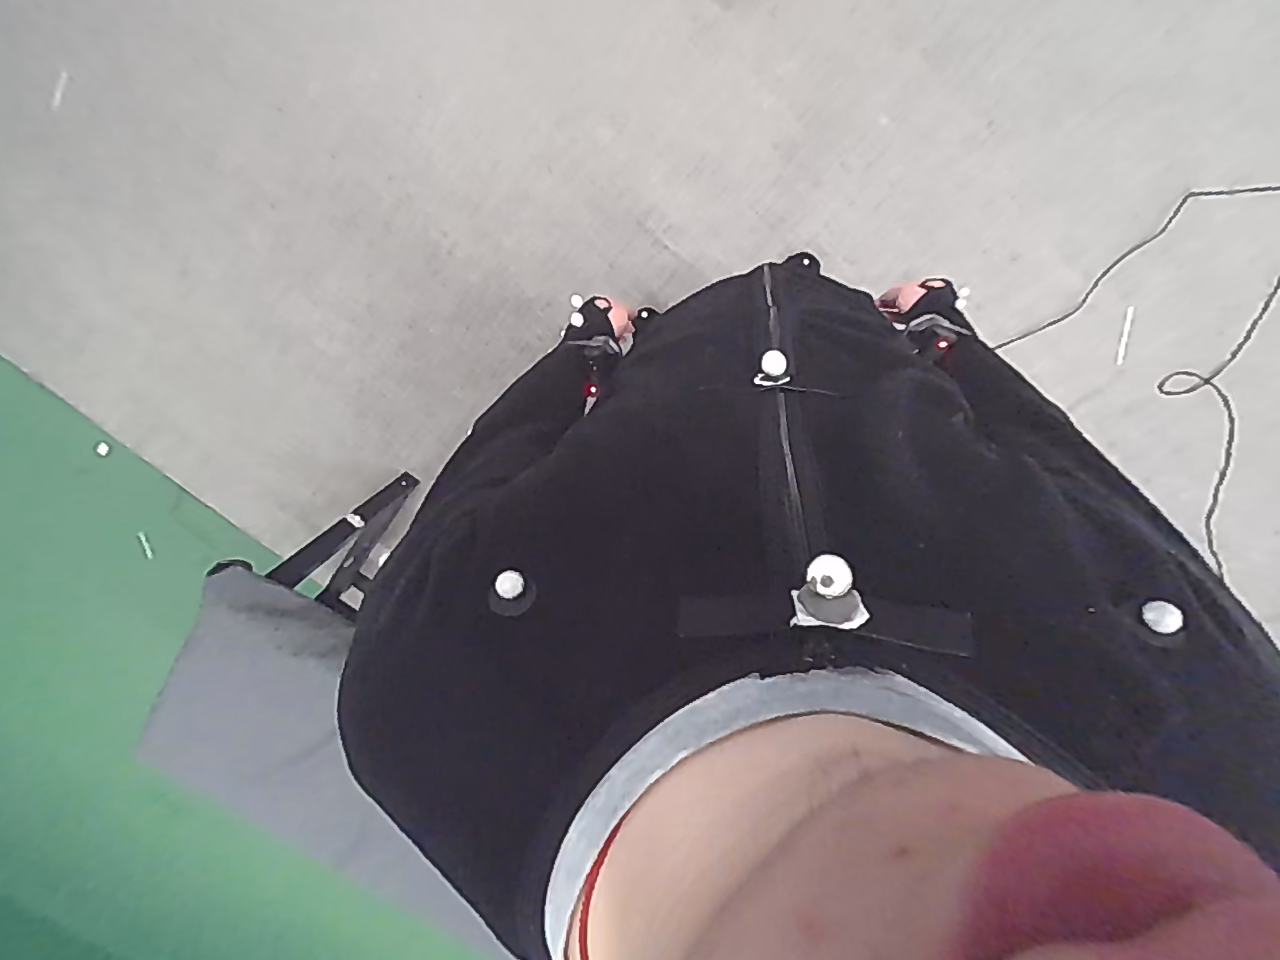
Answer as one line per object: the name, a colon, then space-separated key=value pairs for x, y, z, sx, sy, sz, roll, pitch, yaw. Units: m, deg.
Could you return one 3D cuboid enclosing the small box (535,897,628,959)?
small box: x=-0.141 y=1.123 z=1.257 sx=0.168 sy=0.176 sz=0.179 roll=36 pitch=111 yaw=-8
